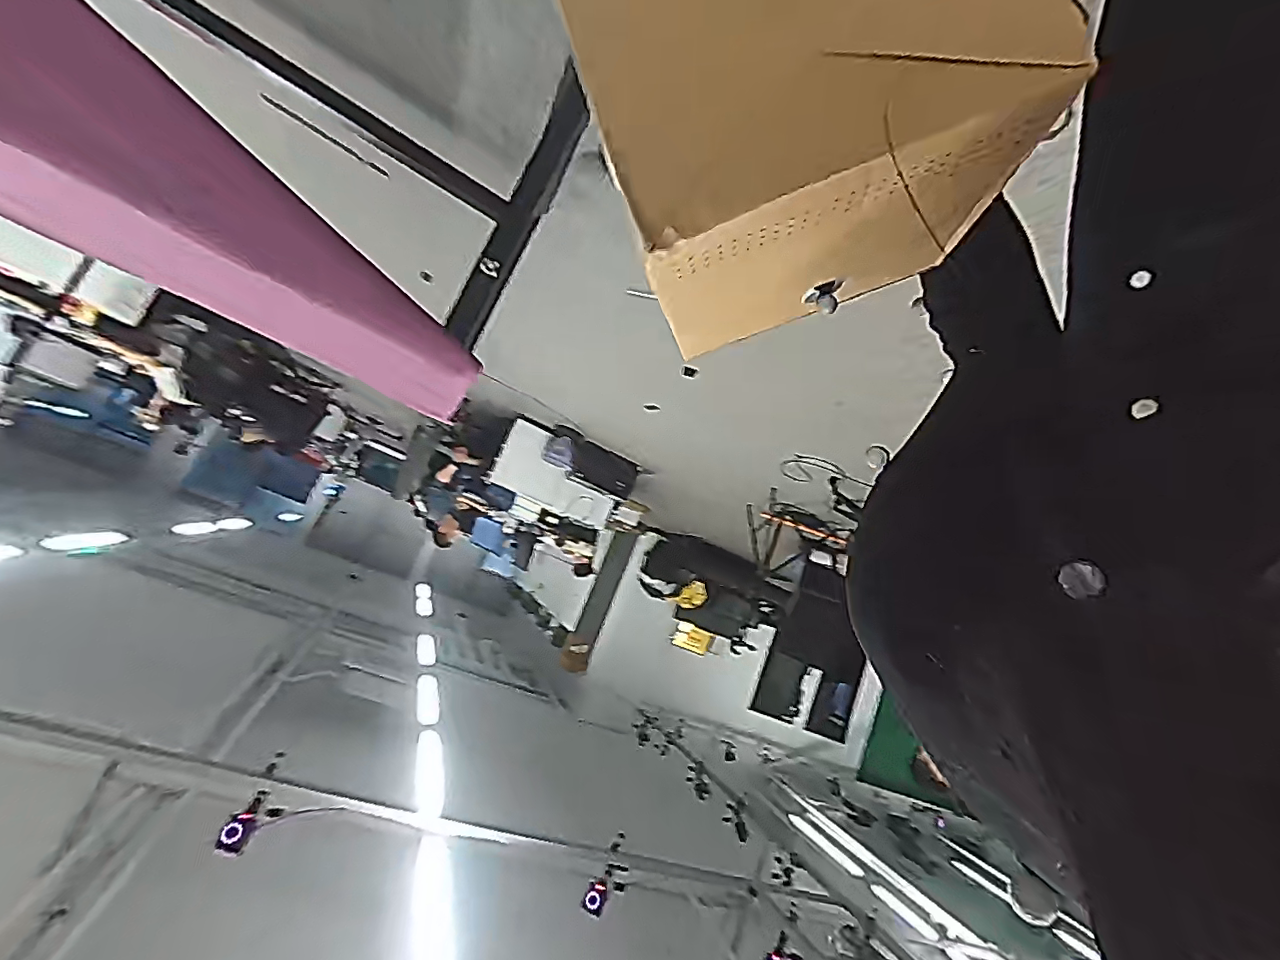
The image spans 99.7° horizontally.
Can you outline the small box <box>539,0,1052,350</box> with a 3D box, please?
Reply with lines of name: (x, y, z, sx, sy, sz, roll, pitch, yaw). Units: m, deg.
small box: (0.068, -0.196, 0.291, 0.179, 0.168, 0.176, -19, 172, 12)
